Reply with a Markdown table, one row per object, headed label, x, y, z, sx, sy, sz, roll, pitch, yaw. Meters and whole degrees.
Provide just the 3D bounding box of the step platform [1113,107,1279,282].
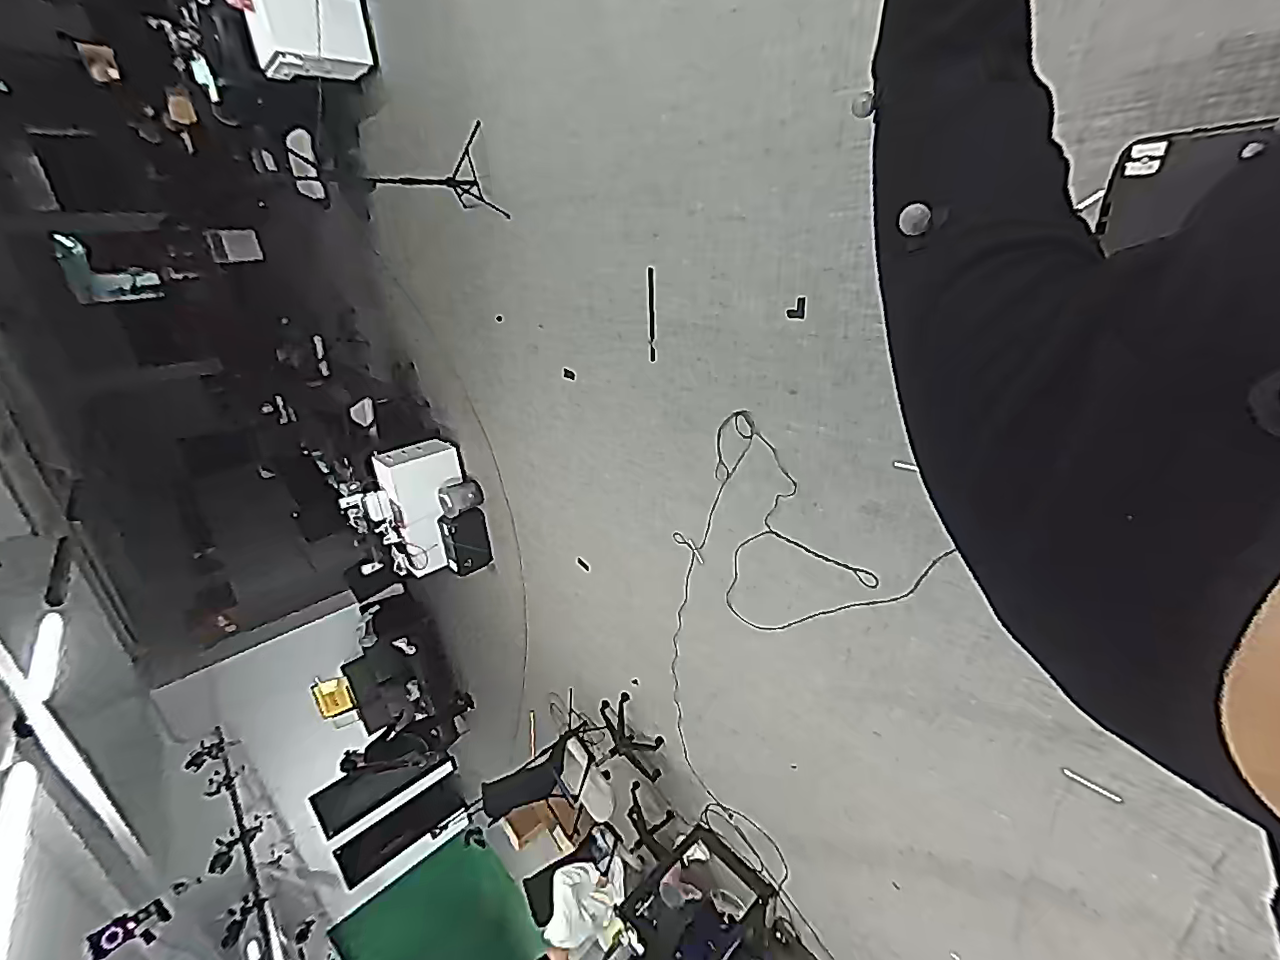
| label | x | y | z | sx | sy | sz | roll | pitch | yaw |
| --- | --- | --- | --- | --- | --- | --- | --- | --- | --- |
| step platform | 1.238 | -0.484 | 0.892 | 0.684 | 0.204 | 0.286 | 19 | 123 | 43 |
